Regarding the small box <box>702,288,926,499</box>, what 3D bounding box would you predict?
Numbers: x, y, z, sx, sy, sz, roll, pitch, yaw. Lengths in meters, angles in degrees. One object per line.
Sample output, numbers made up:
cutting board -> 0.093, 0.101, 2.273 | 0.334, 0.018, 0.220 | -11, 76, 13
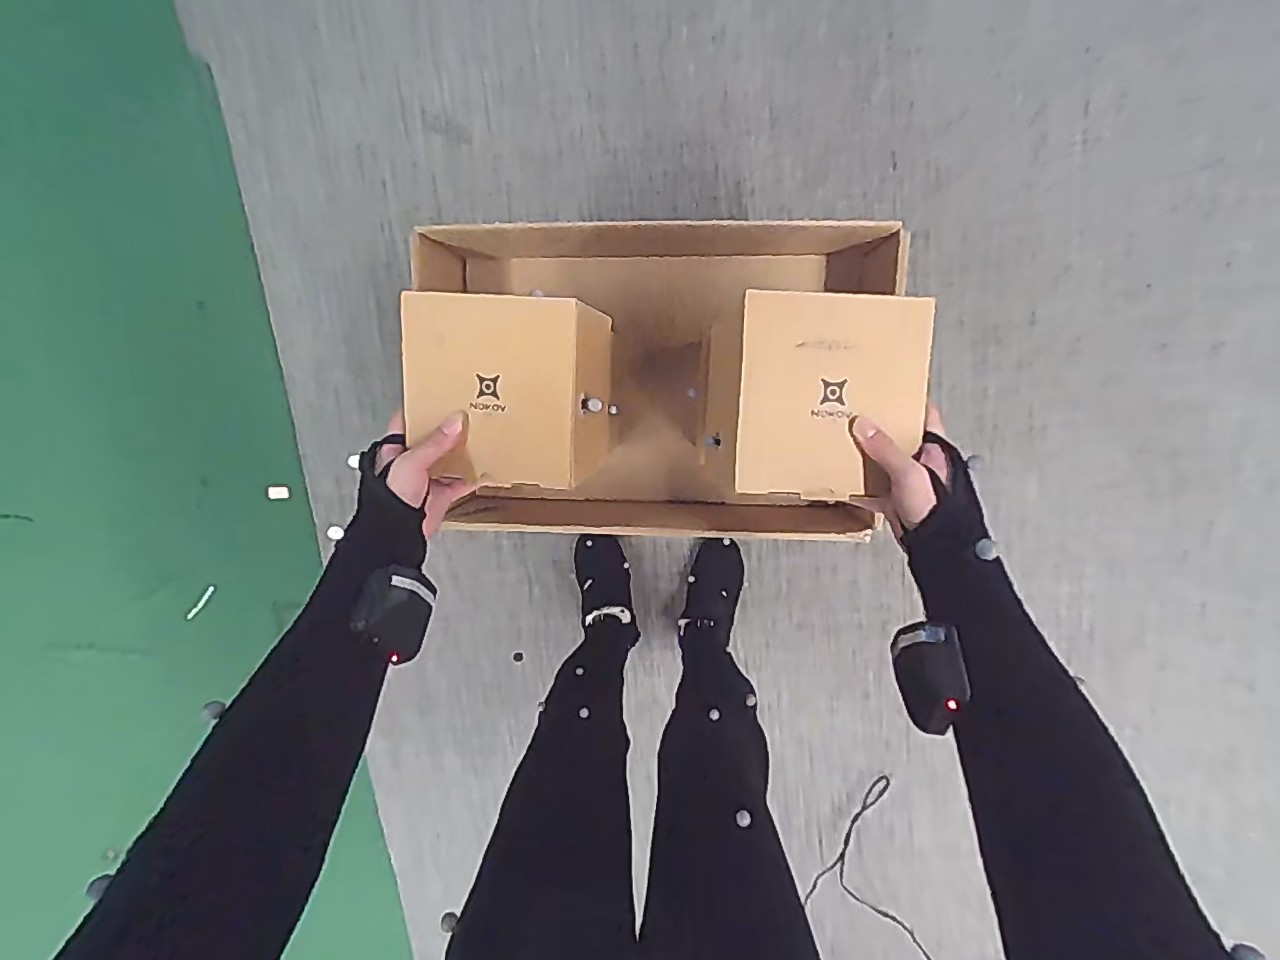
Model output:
small box -> 0.157, -0.081, 0.547 | 0.168, 0.176, 0.179 | 2, 95, -2

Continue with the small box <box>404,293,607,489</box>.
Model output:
small box -> -0.133, -0.097, 0.586 | 0.168, 0.176, 0.179 | 4, 102, 7

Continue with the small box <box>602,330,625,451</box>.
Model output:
small box -> -0.123, -0.123, 0.761 | 0.179, 0.176, 0.168 | 4, 100, 6
